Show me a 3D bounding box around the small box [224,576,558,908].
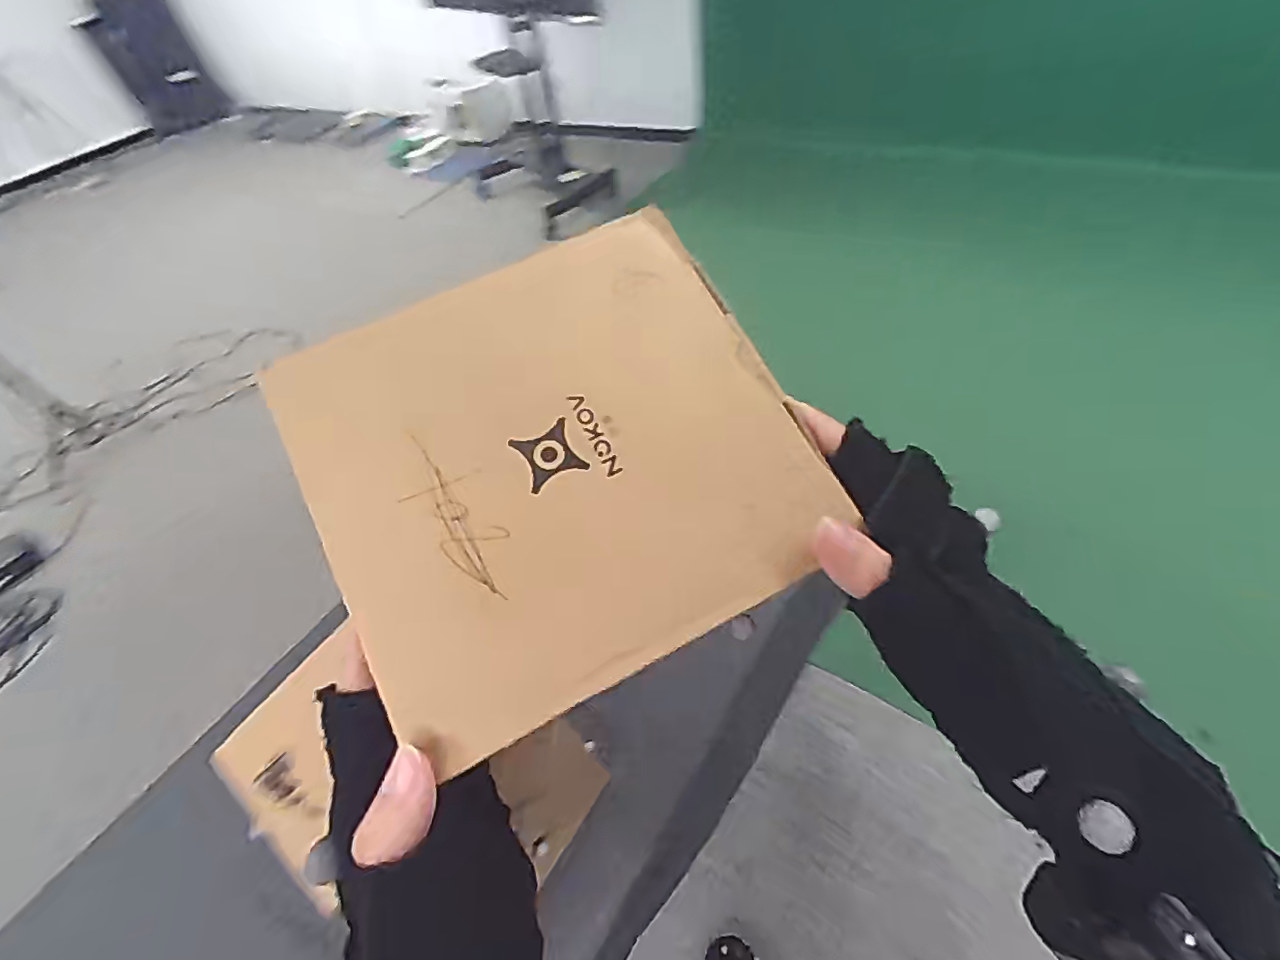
[{"bbox_3d":[-0.190,0.224,0.469,0.168,0.176,0.179,24,58,29],"label":"small box"}]

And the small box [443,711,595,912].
[{"bbox_3d":[-0.167,0.325,0.592,0.168,0.176,0.179,25,59,31],"label":"small box"}]
